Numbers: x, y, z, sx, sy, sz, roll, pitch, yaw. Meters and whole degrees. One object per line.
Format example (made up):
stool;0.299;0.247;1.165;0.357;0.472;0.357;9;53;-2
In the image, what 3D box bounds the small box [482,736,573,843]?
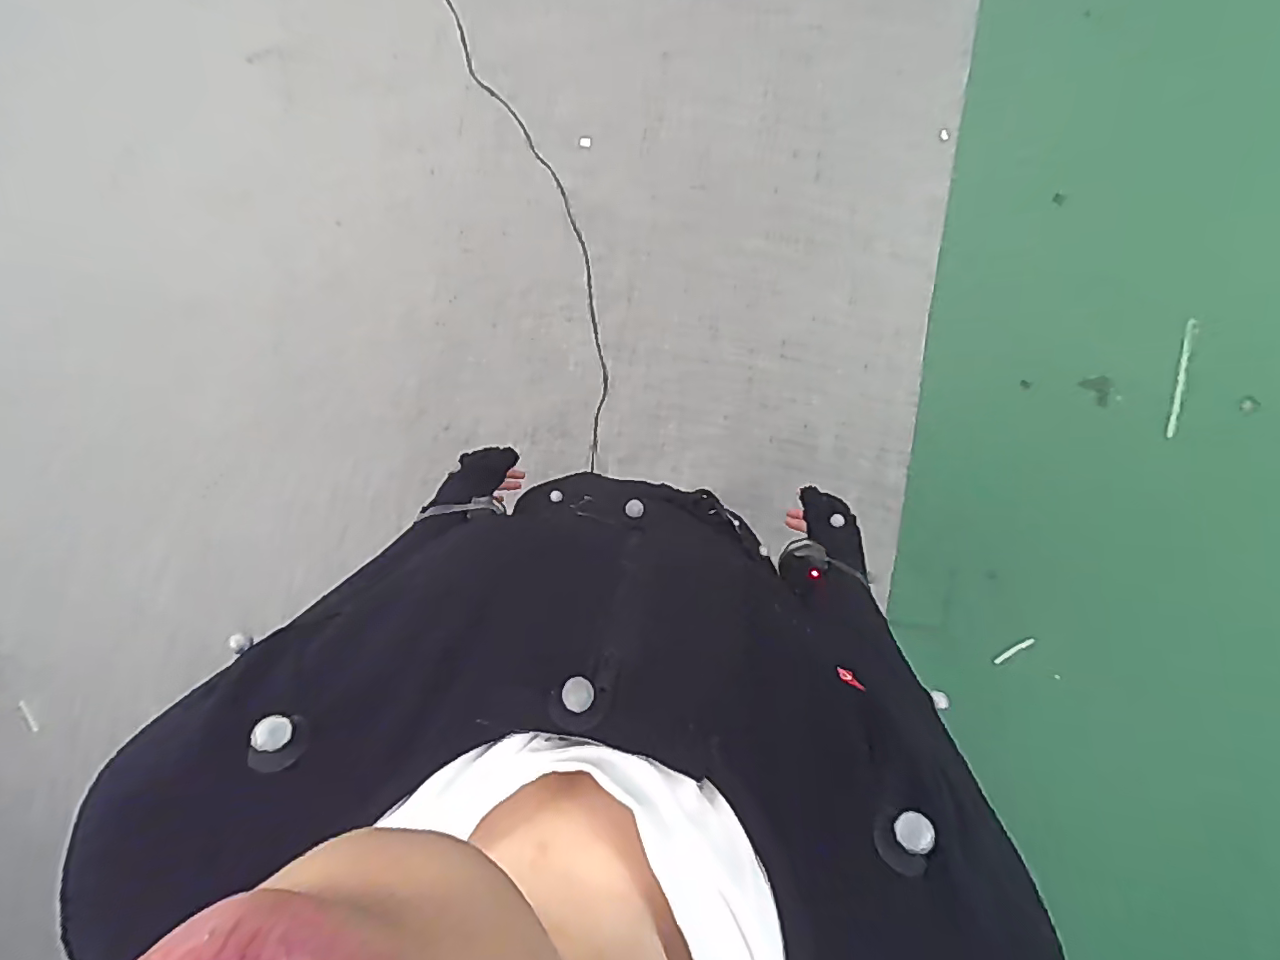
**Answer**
small box;-0.282;0.785;1.391;0.179;0.176;0.168;11;90;2
